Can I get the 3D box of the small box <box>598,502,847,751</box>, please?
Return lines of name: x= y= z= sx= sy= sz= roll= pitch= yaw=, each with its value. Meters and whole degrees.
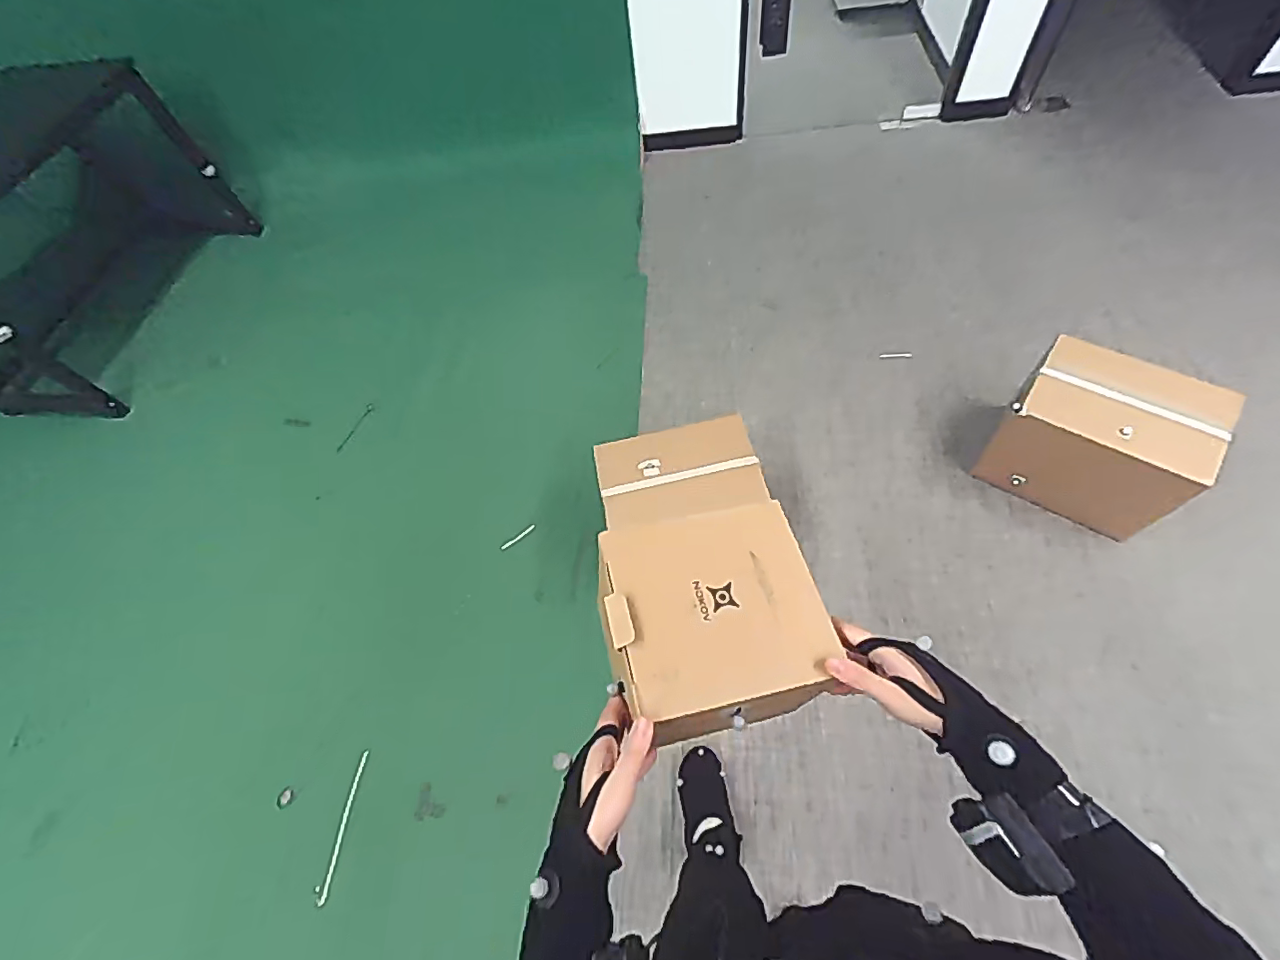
small box: x=0.060 y=0.145 z=0.518 sx=0.179 sy=0.176 sz=0.168 roll=-9 pitch=57 yaw=-10

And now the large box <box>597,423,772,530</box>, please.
large box: x=0.129 y=0.096 z=1.480 sx=0.408 sy=0.320 sz=0.320 roll=-14 pitch=57 yaw=1
